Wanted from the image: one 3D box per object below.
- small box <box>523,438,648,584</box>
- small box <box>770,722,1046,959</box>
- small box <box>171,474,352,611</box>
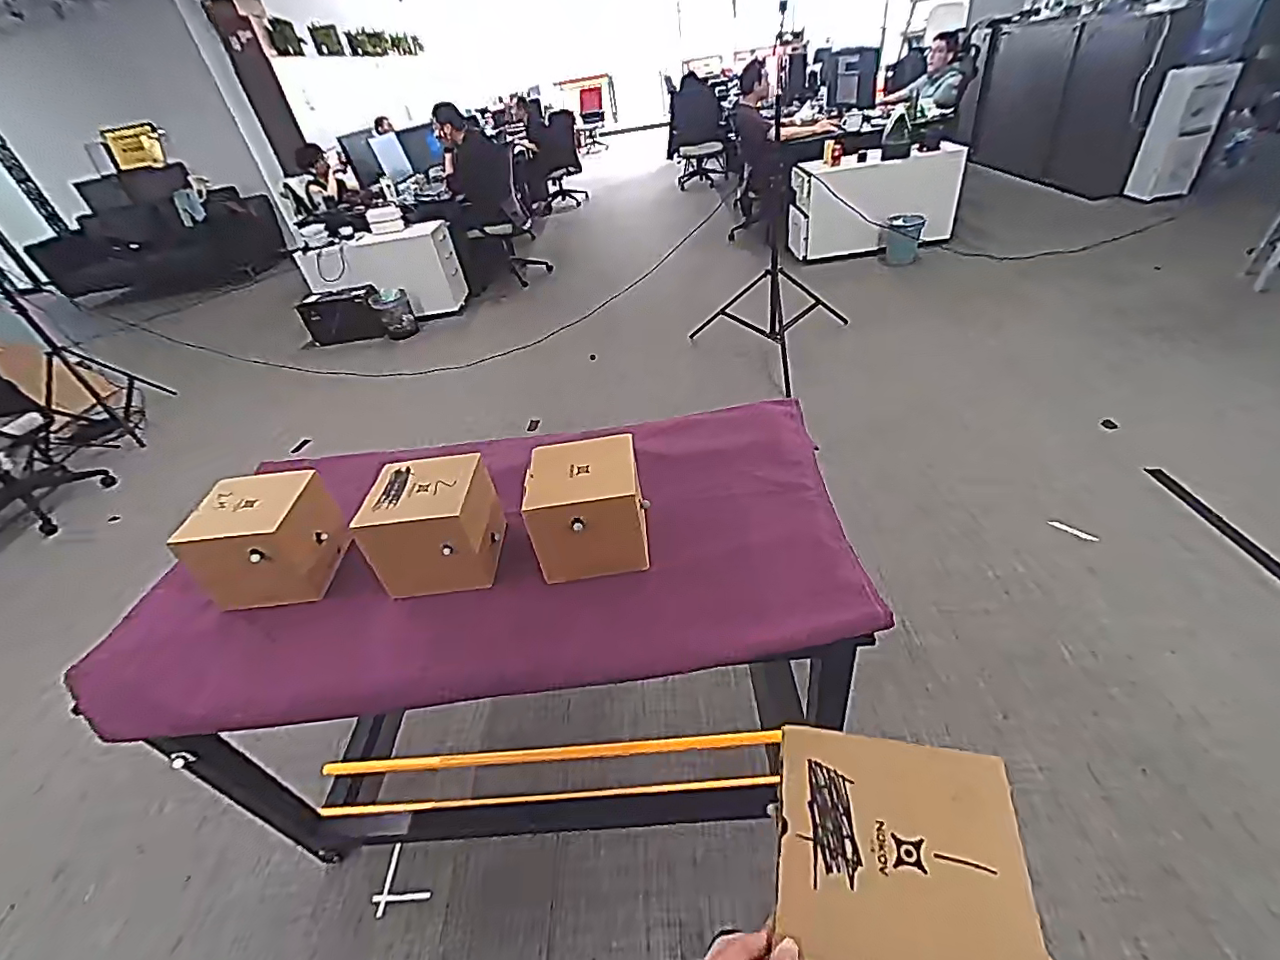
[{"bbox_3d":[-0.082,0.054,0.912,0.179,0.176,0.168,-9,38,3],"label":"small box"},{"bbox_3d":[0.208,0.336,0.464,0.179,0.176,0.168,2,43,17],"label":"small box"},{"bbox_3d":[-0.647,0.111,0.956,0.179,0.176,0.168,-6,37,1],"label":"small box"}]
